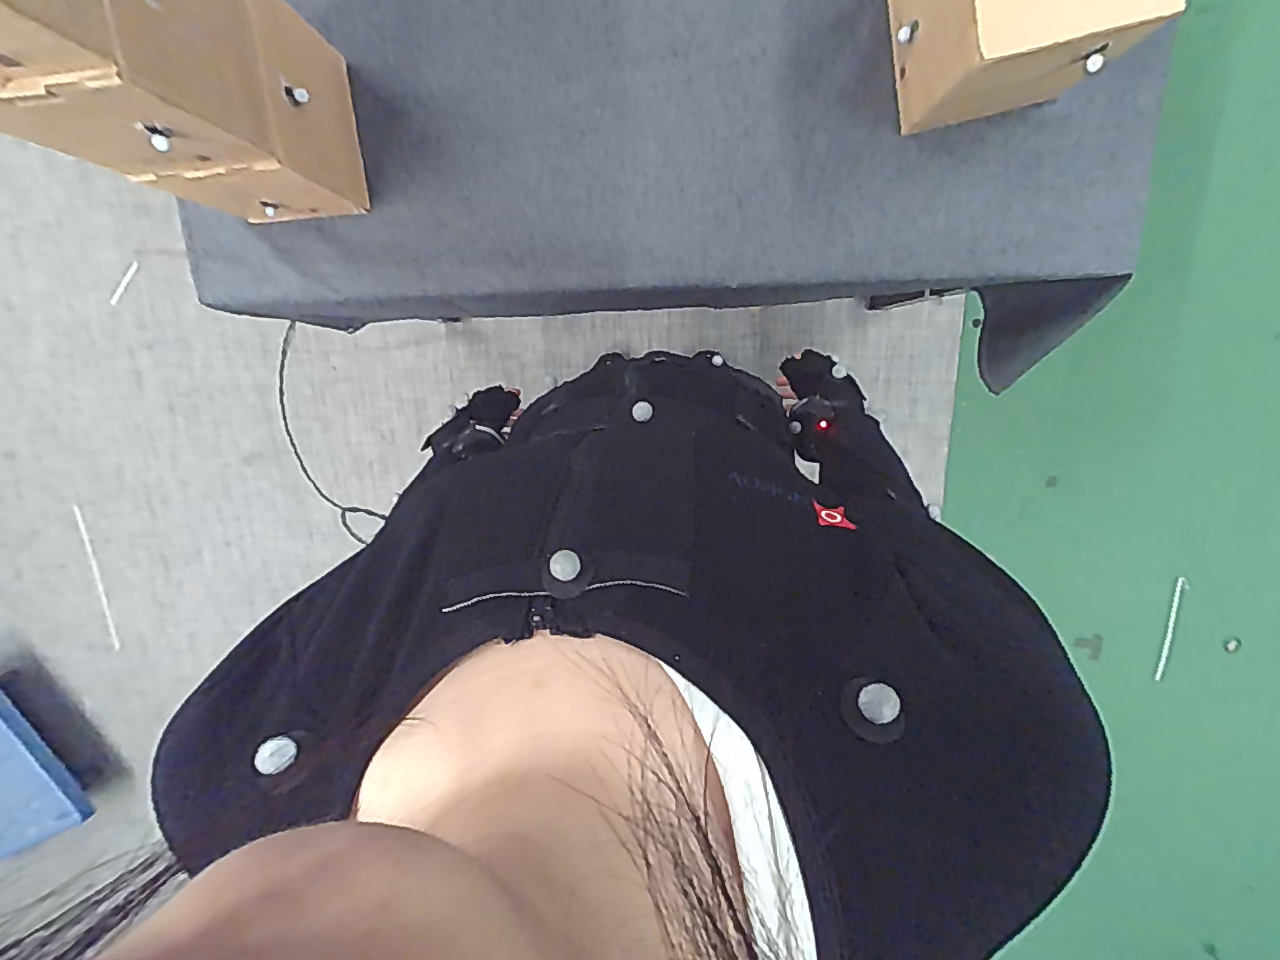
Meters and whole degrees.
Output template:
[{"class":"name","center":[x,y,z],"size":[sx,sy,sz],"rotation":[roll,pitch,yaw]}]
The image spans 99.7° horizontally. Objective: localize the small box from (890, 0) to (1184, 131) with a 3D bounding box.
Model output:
[{"class":"small box","center":[0.373,-0.482,0.535],"size":[0.179,0.176,0.168],"rotation":[-11,102,6]}]

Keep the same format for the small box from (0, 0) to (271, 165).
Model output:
[{"class":"small box","center":[-0.442,-0.376,0.439],"size":[0.168,0.176,0.179],"rotation":[-3,103,2]}]

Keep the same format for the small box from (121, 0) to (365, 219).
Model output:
[{"class":"small box","center":[-0.437,-0.408,0.599],"size":[0.168,0.176,0.179],"rotation":[-3,103,3]}]

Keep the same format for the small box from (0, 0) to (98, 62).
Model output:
[{"class":"small box","center":[-0.449,-0.346,0.278],"size":[0.168,0.176,0.179],"rotation":[-4,102,2]}]
